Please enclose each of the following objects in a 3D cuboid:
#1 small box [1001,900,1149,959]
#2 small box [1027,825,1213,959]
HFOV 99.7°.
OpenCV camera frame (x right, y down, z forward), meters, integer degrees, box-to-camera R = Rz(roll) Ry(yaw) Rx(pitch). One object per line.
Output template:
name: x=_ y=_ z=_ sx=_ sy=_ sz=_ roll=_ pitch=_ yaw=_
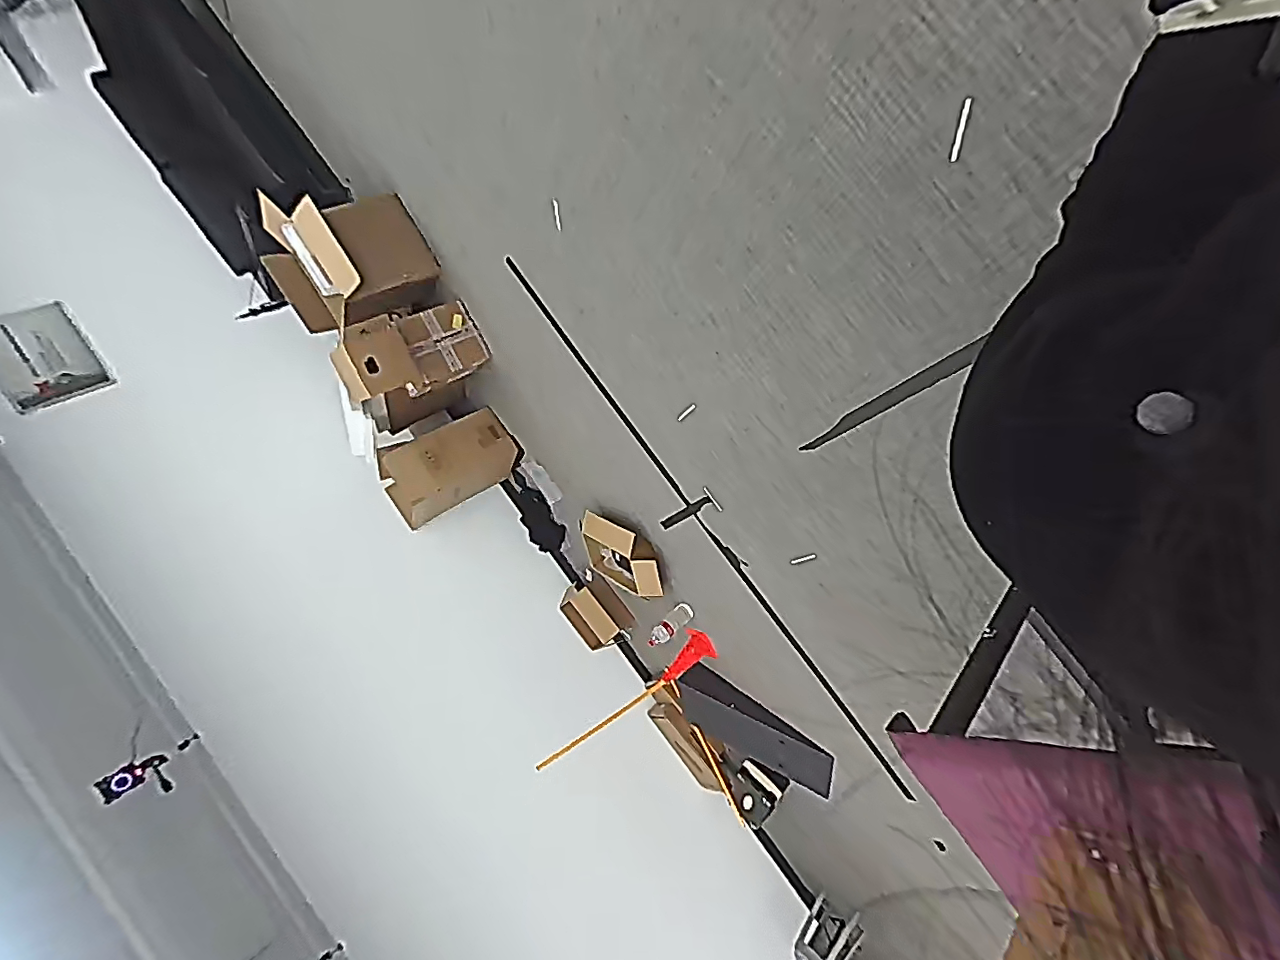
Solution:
small box: x=0.700 y=0.820 z=0.839 sx=0.179 sy=0.176 sz=0.168 roll=56 pitch=149 yaw=-3
small box: x=0.818 y=0.743 z=0.922 sx=0.179 sy=0.176 sz=0.168 roll=56 pitch=149 yaw=0
